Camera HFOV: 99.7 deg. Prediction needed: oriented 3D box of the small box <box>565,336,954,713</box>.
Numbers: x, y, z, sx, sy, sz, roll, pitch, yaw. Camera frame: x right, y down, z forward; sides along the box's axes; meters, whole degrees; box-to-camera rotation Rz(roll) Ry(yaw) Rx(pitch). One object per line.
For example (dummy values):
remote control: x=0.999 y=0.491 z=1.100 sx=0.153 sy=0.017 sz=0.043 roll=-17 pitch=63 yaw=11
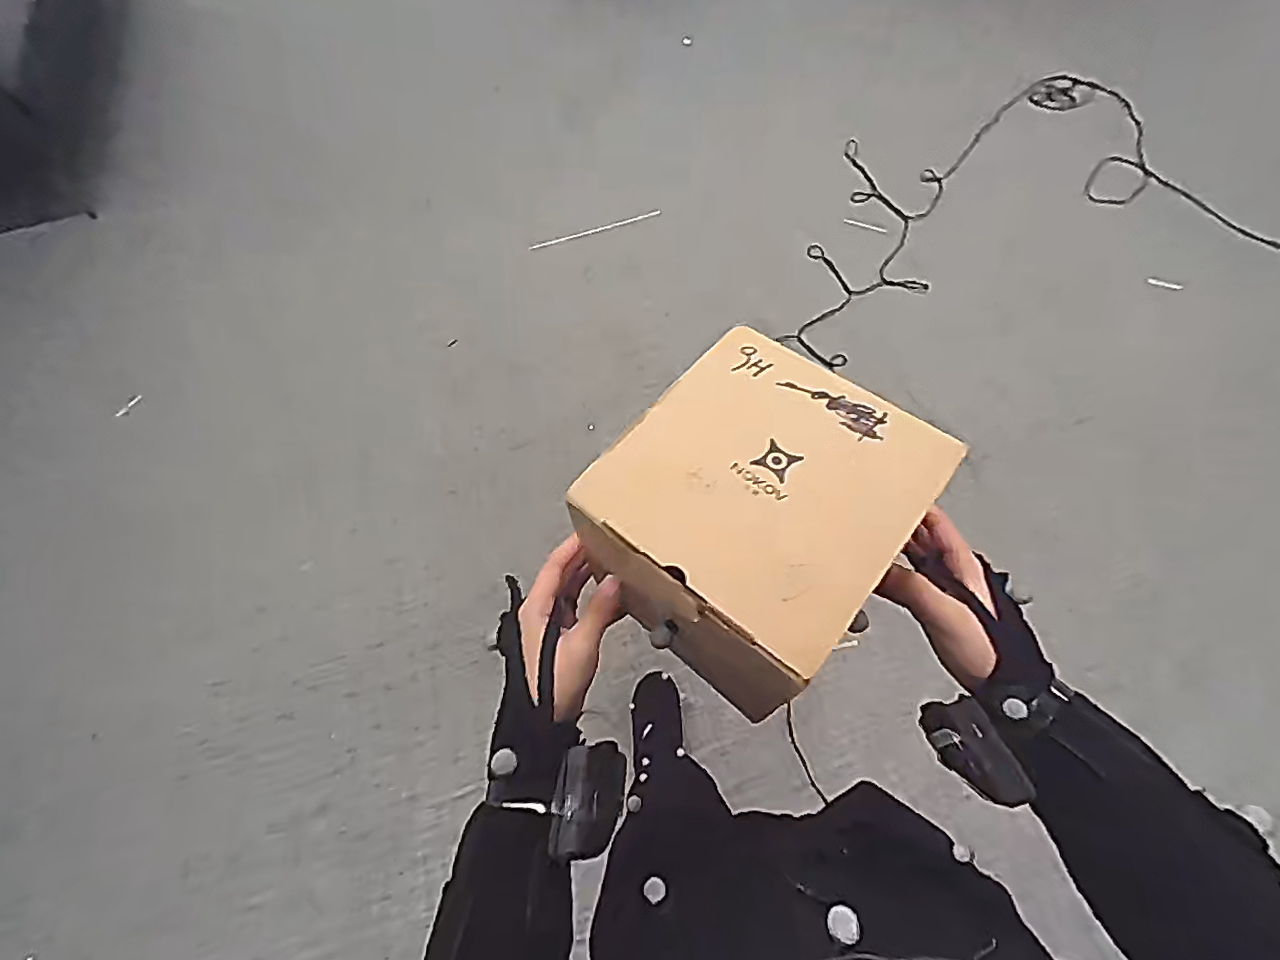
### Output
small box: x=0.076 y=0.040 z=0.389 sx=0.168 sy=0.176 sz=0.179 roll=37 pitch=69 yaw=22
